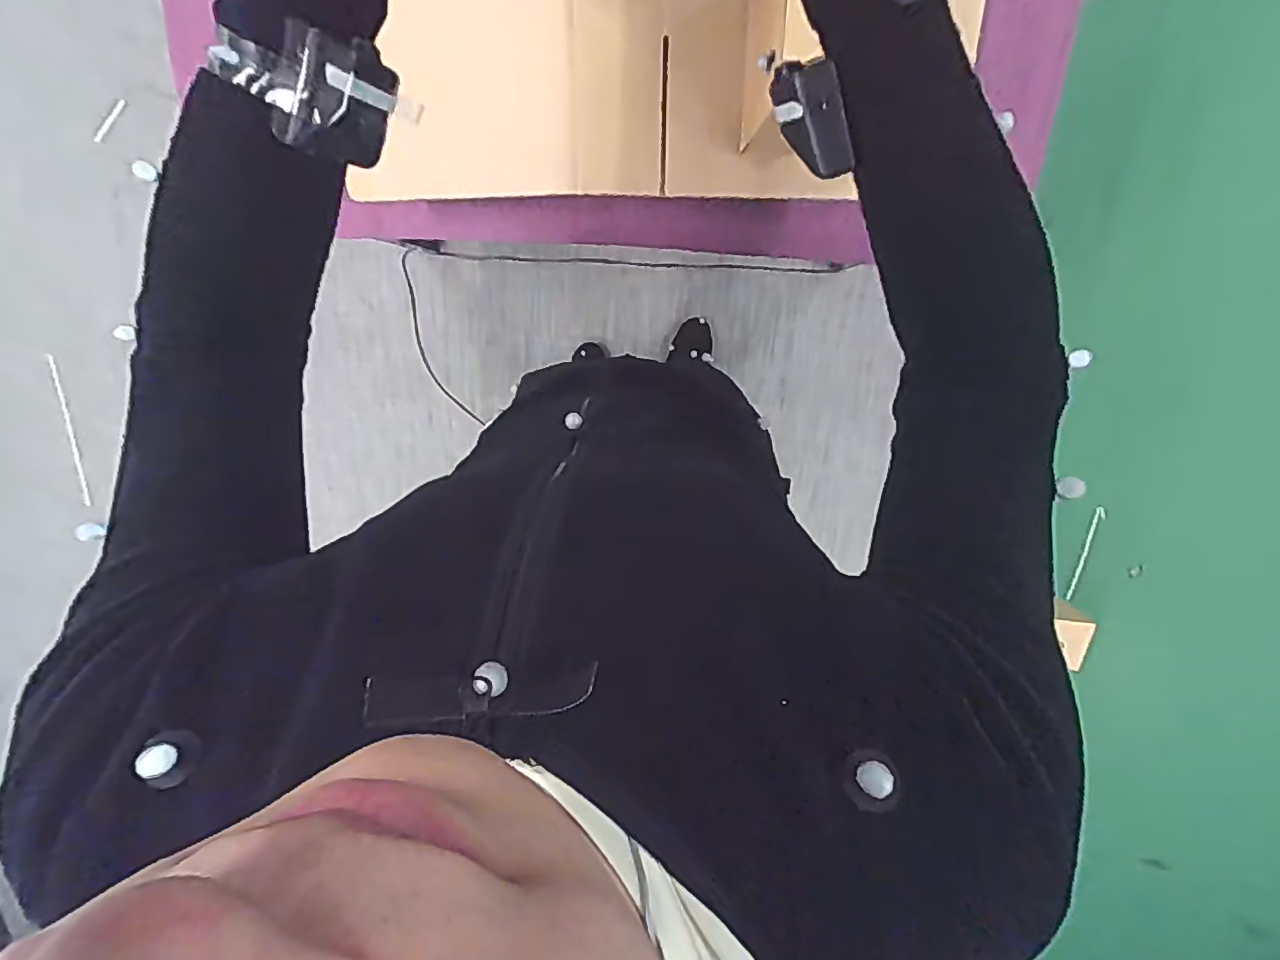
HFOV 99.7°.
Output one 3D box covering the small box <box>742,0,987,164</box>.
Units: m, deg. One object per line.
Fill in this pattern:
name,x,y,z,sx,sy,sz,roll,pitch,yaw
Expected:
small box,0.197,-0.421,0.511,0.168,0.176,0.179,0,108,-1
